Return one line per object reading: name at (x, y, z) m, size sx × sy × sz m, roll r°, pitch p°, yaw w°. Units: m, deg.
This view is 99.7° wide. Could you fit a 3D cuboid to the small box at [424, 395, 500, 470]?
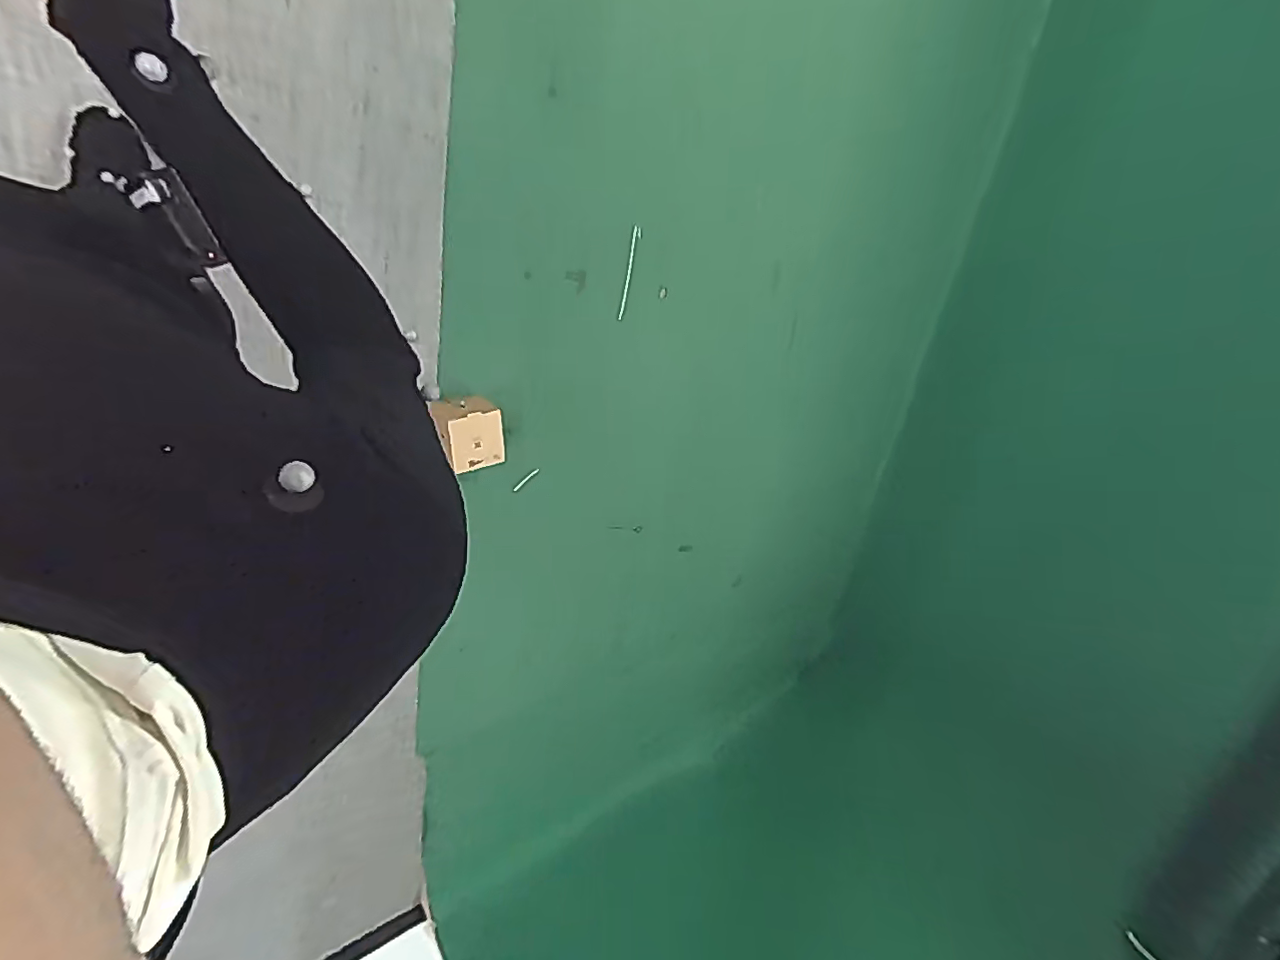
small box at (-0.548, -0.156, 1.660) m, size 0.168 × 0.176 × 0.179 m, roll -18°, pitch 123°, yaw -34°
